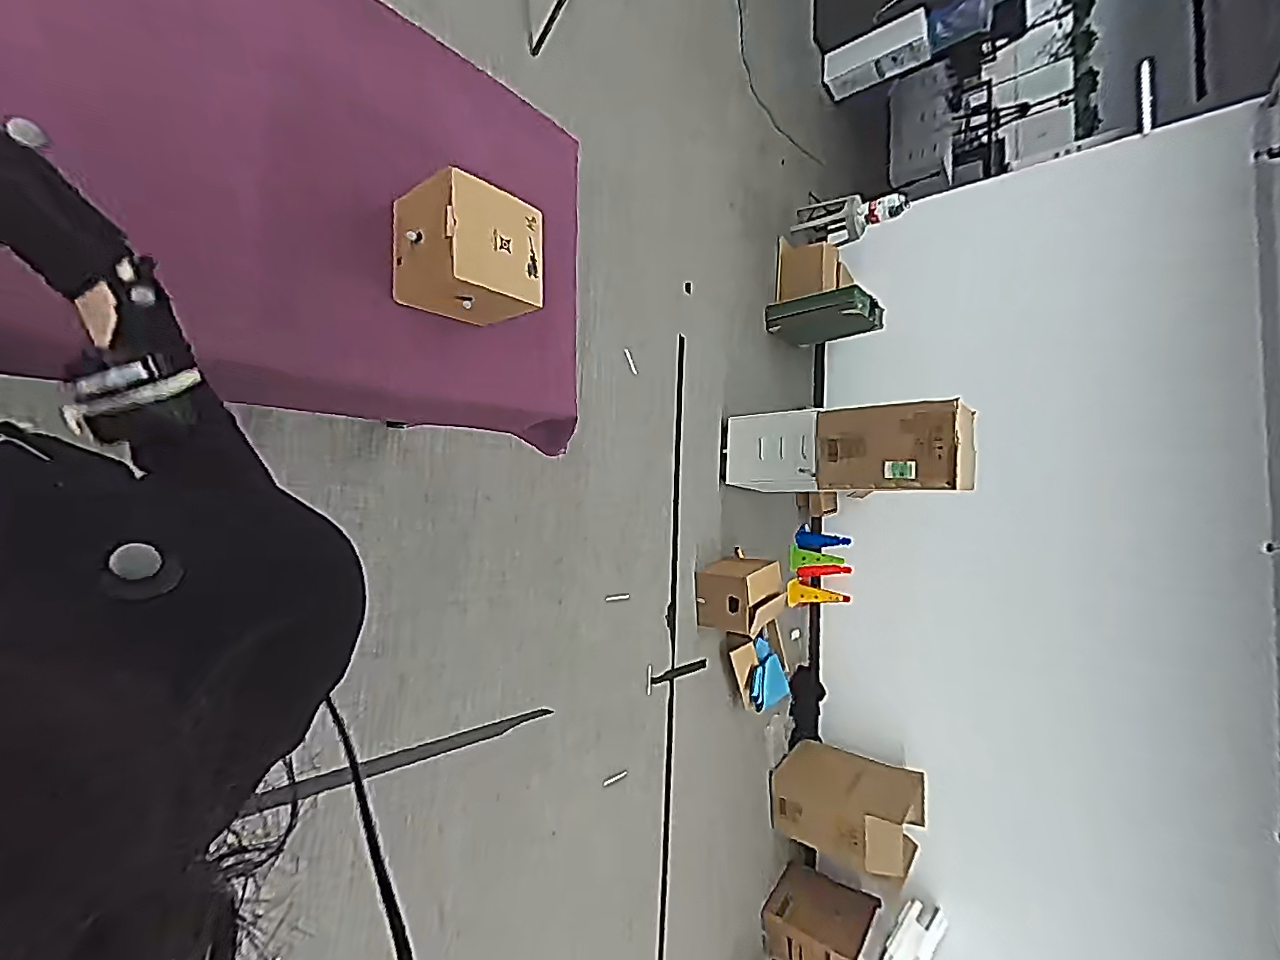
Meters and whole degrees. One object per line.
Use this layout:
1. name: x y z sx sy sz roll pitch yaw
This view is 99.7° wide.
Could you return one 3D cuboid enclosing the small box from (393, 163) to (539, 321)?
1. small box: -0.286 -0.372 0.888 0.179 0.176 0.168 1 89 -52
